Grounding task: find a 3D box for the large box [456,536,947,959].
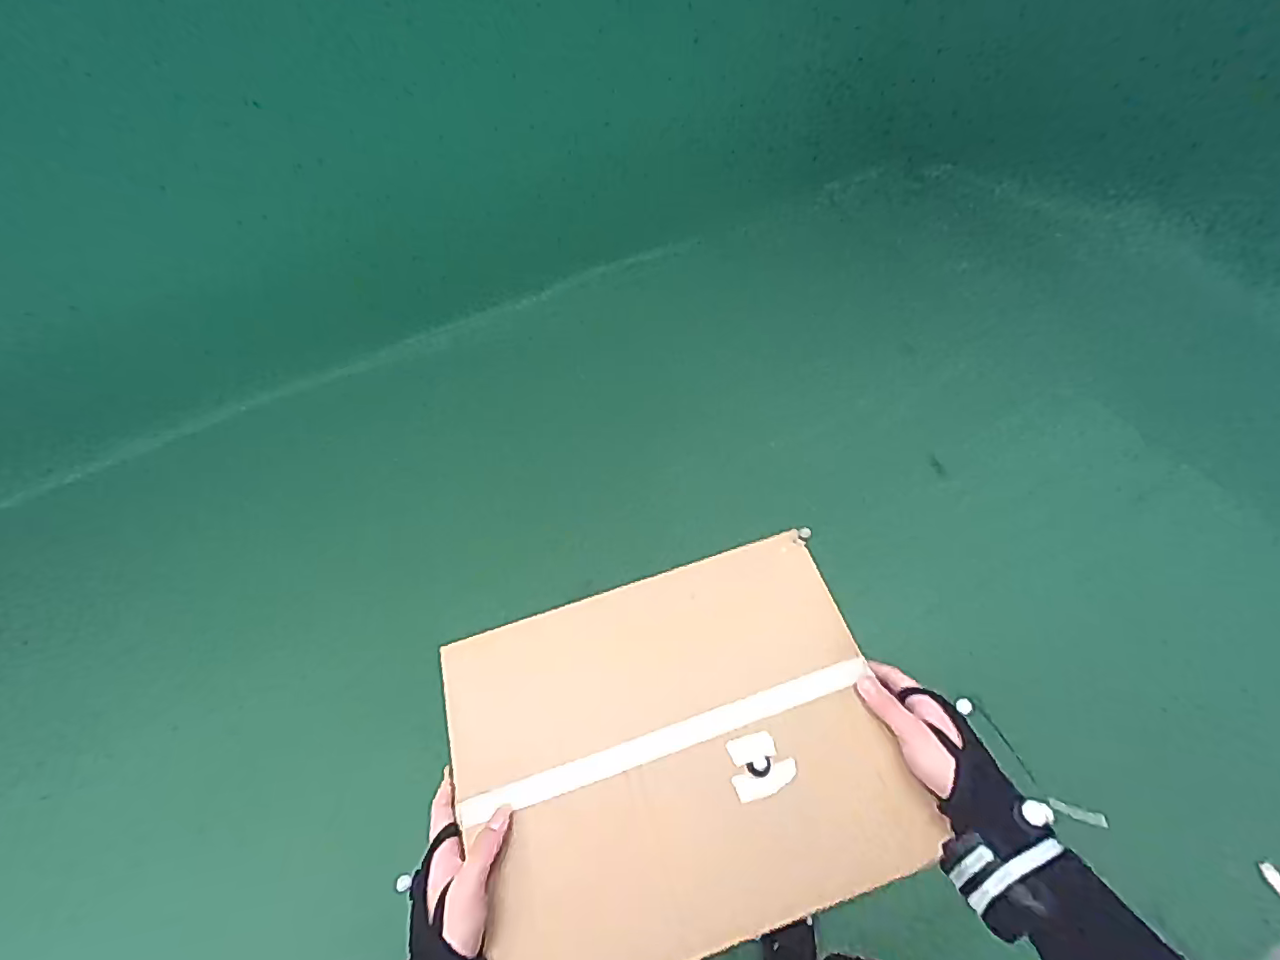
[{"bbox_3d":[0.044,0.321,0.647,0.408,0.320,0.320,-17,60,-6],"label":"large box"}]
